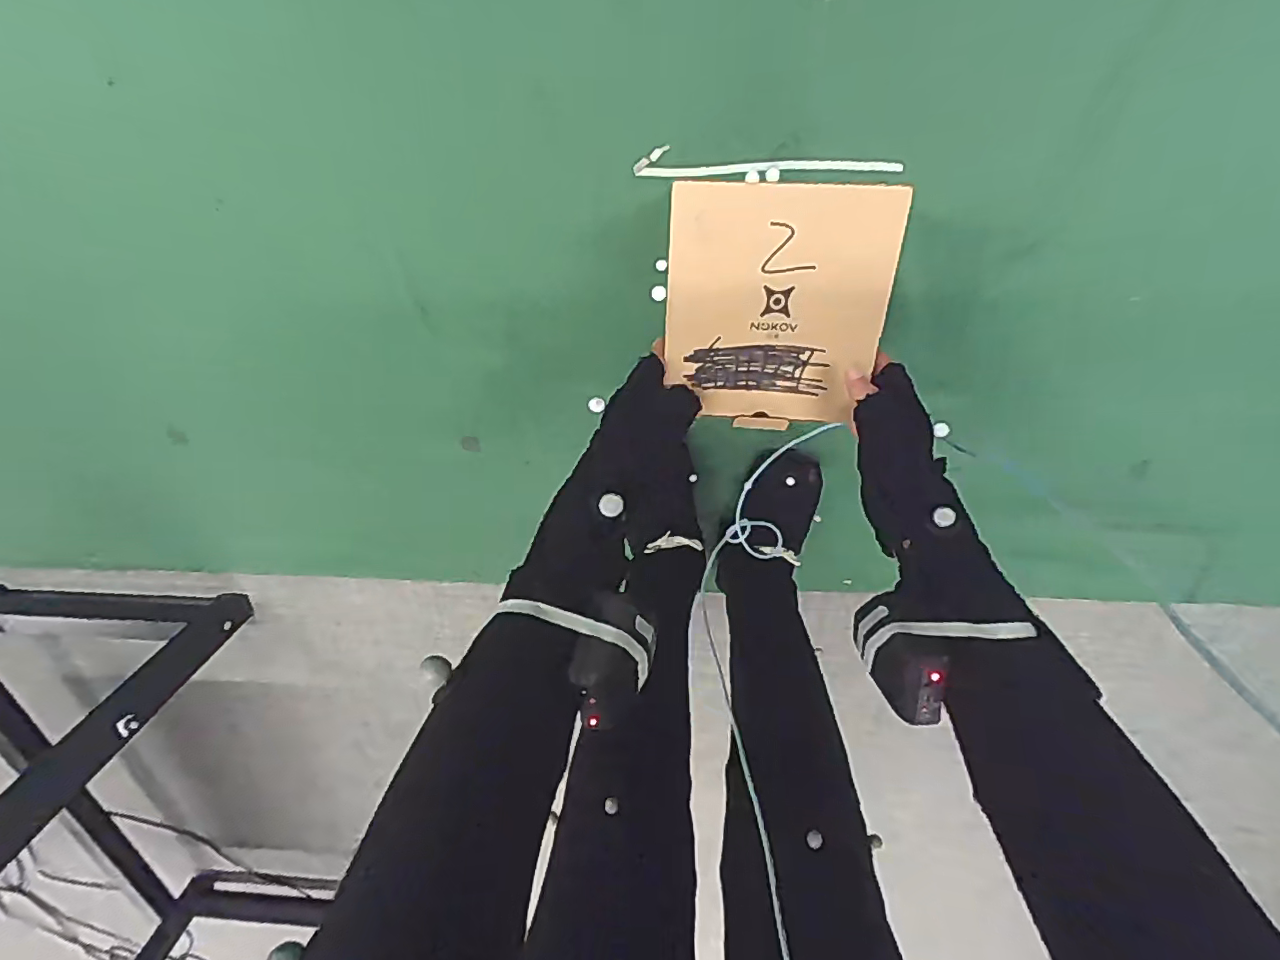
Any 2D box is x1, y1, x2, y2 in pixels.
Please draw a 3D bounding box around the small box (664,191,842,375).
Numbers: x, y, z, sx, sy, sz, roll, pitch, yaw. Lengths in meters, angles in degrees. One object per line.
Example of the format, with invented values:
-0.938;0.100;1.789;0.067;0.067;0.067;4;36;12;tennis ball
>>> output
0.117;-0.235;0.629;0.168;0.176;0.179;3;118;3;small box
